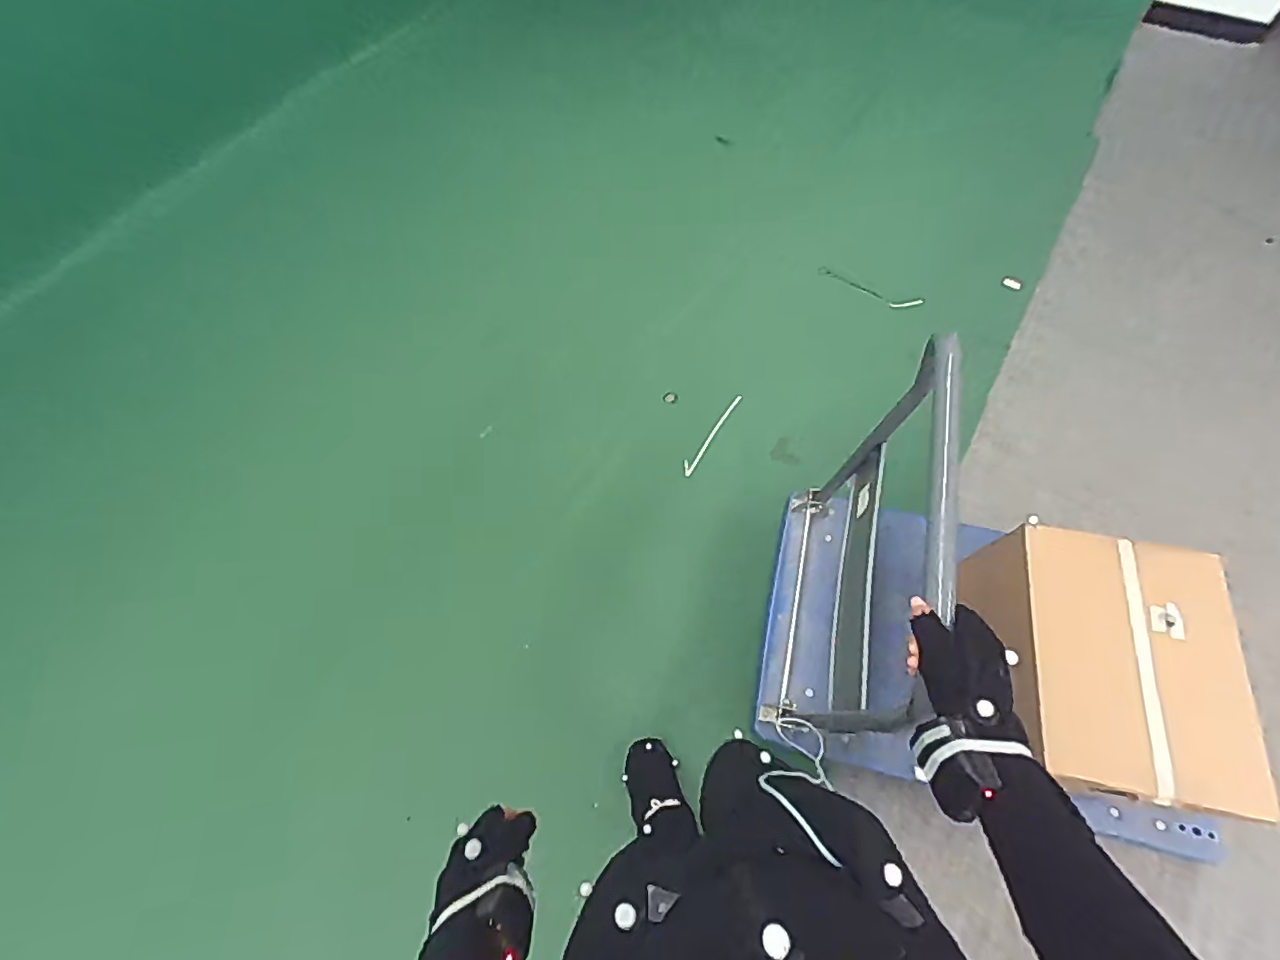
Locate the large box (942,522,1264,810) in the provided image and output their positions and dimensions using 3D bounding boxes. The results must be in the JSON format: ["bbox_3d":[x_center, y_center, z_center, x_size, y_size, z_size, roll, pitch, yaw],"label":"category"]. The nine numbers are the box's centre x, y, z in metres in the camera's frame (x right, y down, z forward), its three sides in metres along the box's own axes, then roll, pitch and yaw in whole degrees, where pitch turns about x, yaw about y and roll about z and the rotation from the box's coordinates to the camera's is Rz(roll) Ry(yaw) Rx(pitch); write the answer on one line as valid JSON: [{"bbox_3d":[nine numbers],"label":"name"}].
[{"bbox_3d":[0.792,0.342,1.007,0.320,0.320,0.408,11,65,7],"label":"large box"}]
